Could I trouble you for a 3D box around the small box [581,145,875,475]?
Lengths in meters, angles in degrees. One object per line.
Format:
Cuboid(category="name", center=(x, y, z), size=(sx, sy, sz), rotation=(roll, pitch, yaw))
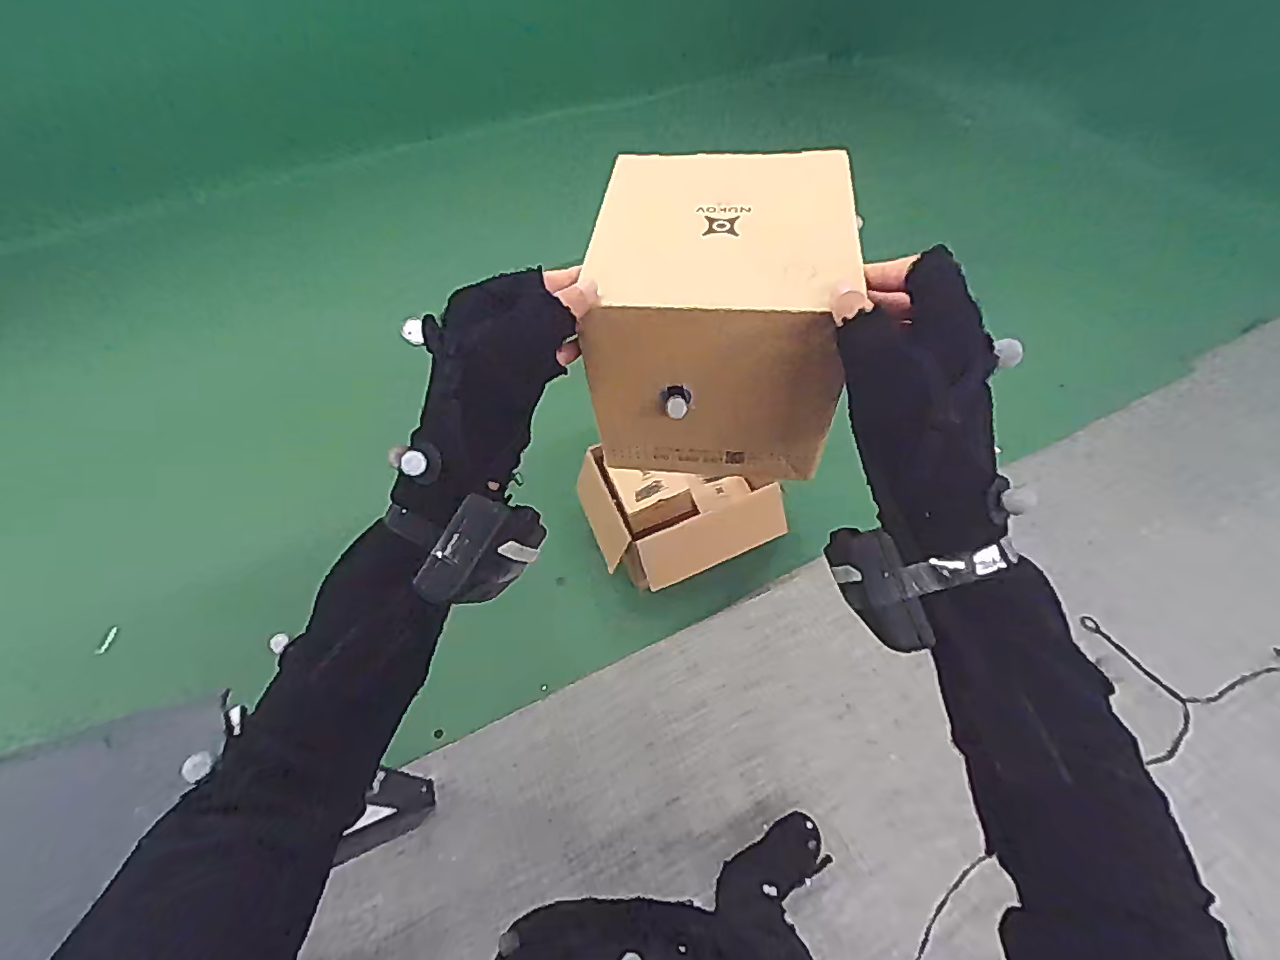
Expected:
Cuboid(category="small box", center=(0.065, -0.120, 0.407), size=(0.168, 0.176, 0.179), rotation=(4, 56, 9))
